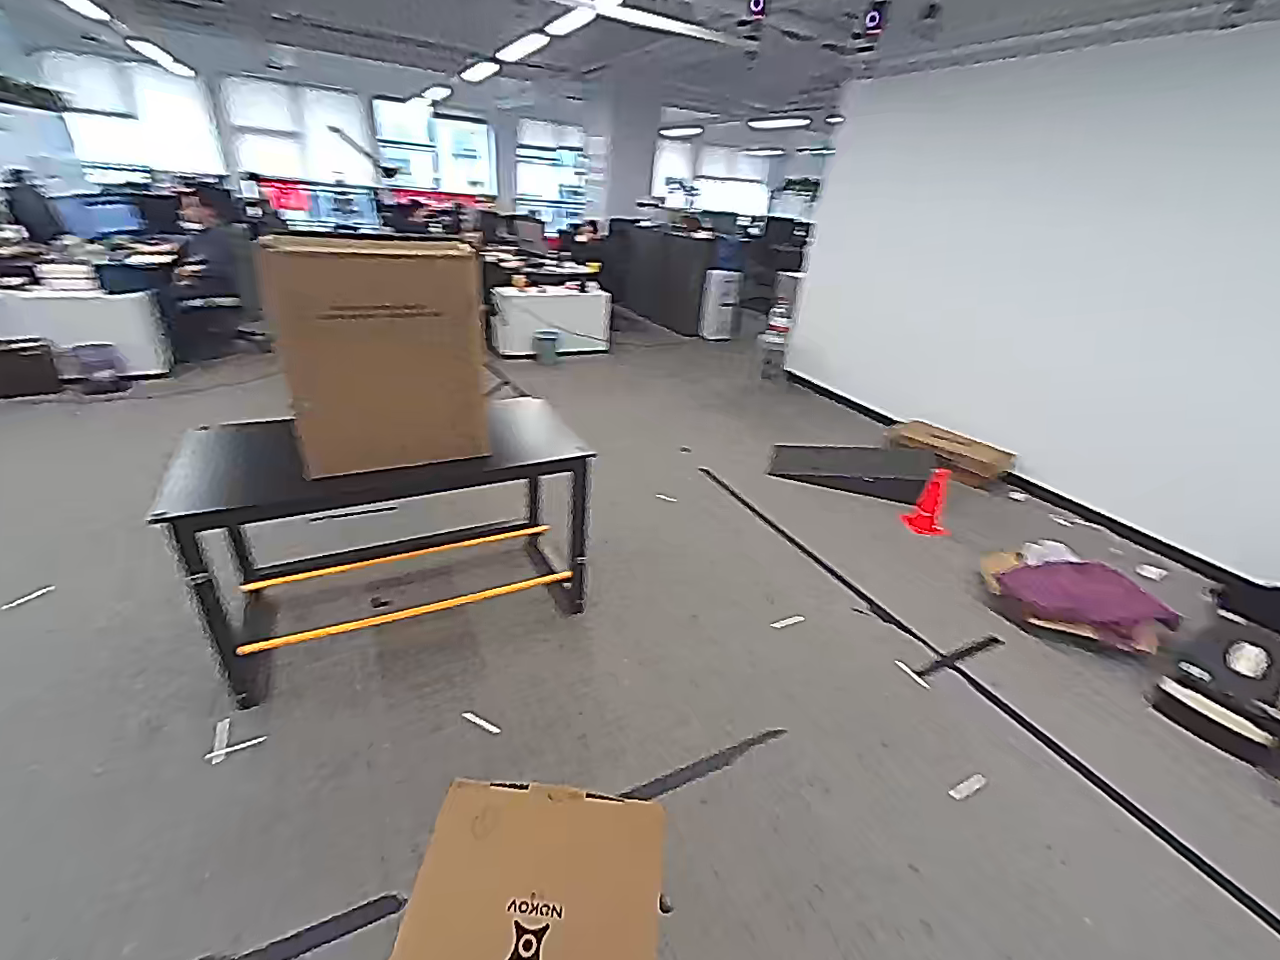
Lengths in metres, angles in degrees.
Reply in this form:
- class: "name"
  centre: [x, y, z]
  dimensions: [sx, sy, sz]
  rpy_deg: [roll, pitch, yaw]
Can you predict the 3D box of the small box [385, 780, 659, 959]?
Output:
- class: "small box"
  centre: [-0.077, 0.351, 0.393]
  dimensions: [0.168, 0.176, 0.179]
  rpy_deg: [4, 40, 2]
